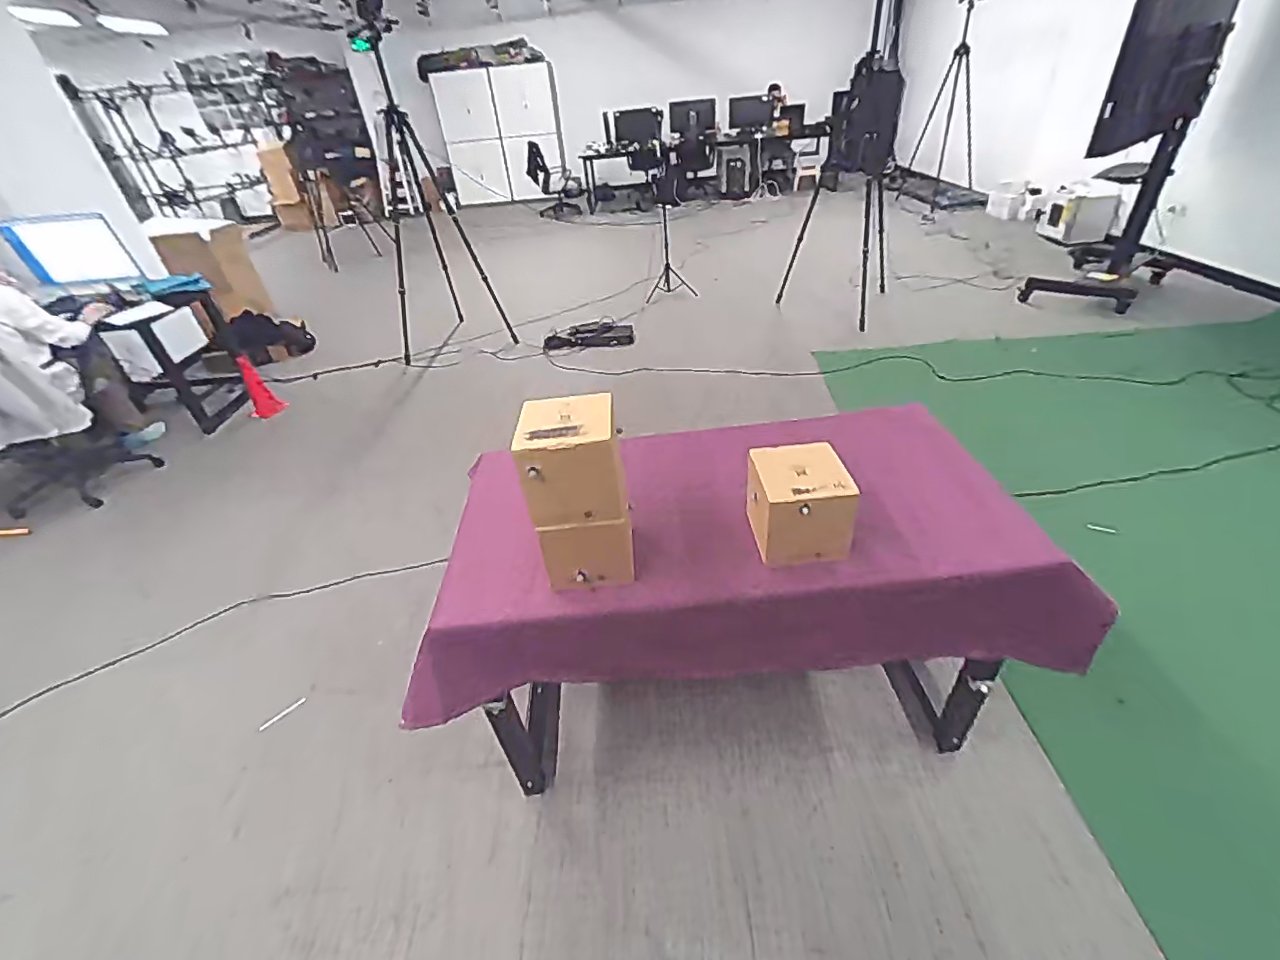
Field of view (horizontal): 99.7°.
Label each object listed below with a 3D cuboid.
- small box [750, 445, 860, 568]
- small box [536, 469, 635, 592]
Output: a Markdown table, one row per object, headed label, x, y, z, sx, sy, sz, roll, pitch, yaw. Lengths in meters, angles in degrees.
| label | x | y | z | sx | sy | sz | roll | pitch | yaw |
| --- | --- | --- | --- | --- | --- | --- | --- | --- | --- |
| small box | 0.317 | 0.051 | 1.078 | 0.168 | 0.176 | 0.179 | -7 | 36 | 1 |
| small box | -0.100 | 0.099 | 1.080 | 0.168 | 0.176 | 0.179 | -6 | 37 | 2 |
